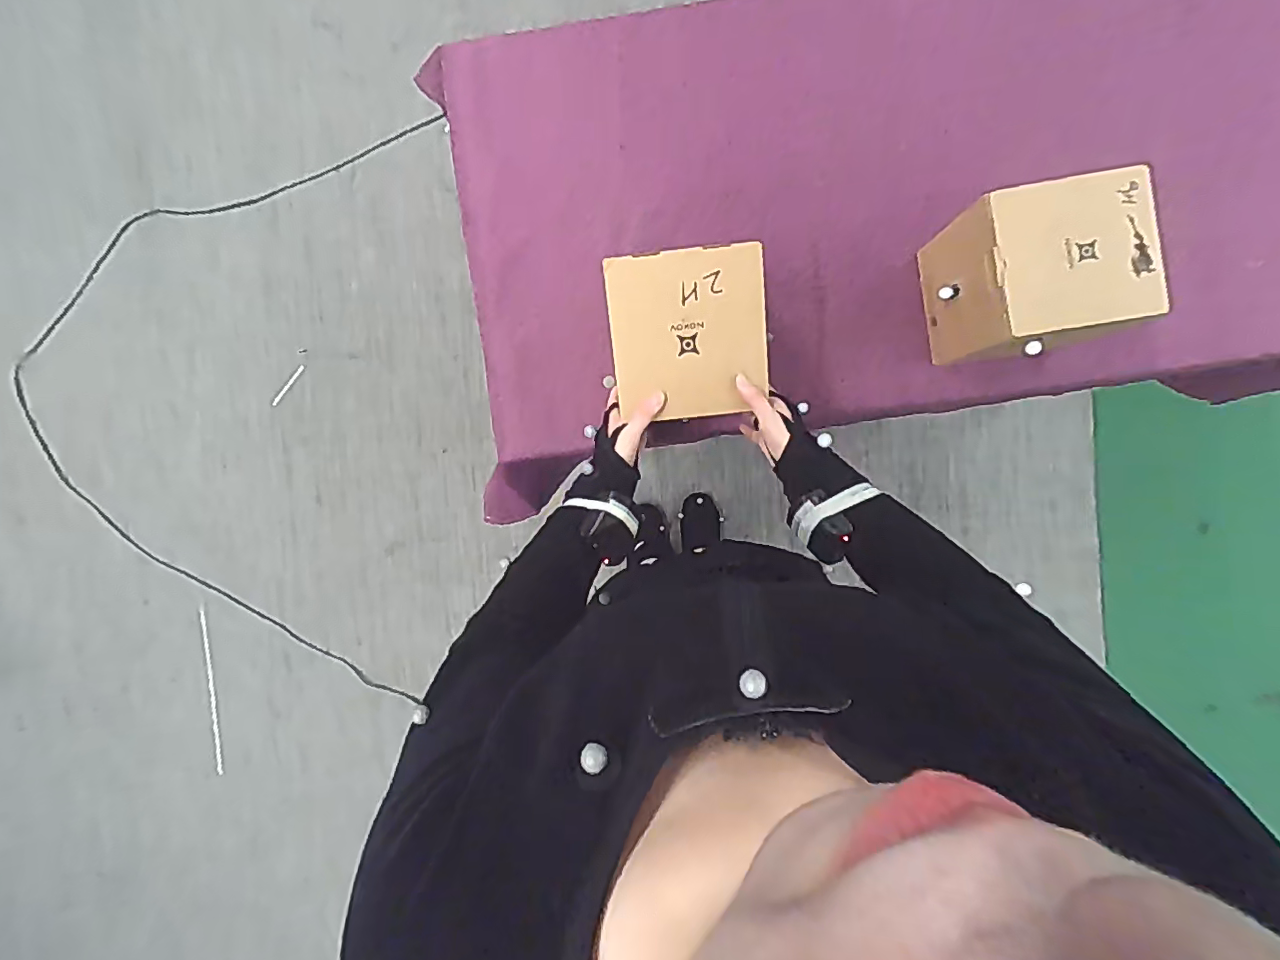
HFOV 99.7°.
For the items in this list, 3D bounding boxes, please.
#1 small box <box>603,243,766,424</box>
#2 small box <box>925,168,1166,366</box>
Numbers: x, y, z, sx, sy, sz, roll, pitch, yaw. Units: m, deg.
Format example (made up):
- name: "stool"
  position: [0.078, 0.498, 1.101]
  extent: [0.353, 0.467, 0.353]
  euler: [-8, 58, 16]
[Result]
- name: "small box"
  position: [0.052, -0.170, 0.647]
  extent: [0.168, 0.176, 0.179]
  euler: [-5, 103, 3]
- name: "small box"
  position: [0.478, -0.247, 0.670]
  extent: [0.179, 0.176, 0.168]
  euler: [-8, 90, 3]
